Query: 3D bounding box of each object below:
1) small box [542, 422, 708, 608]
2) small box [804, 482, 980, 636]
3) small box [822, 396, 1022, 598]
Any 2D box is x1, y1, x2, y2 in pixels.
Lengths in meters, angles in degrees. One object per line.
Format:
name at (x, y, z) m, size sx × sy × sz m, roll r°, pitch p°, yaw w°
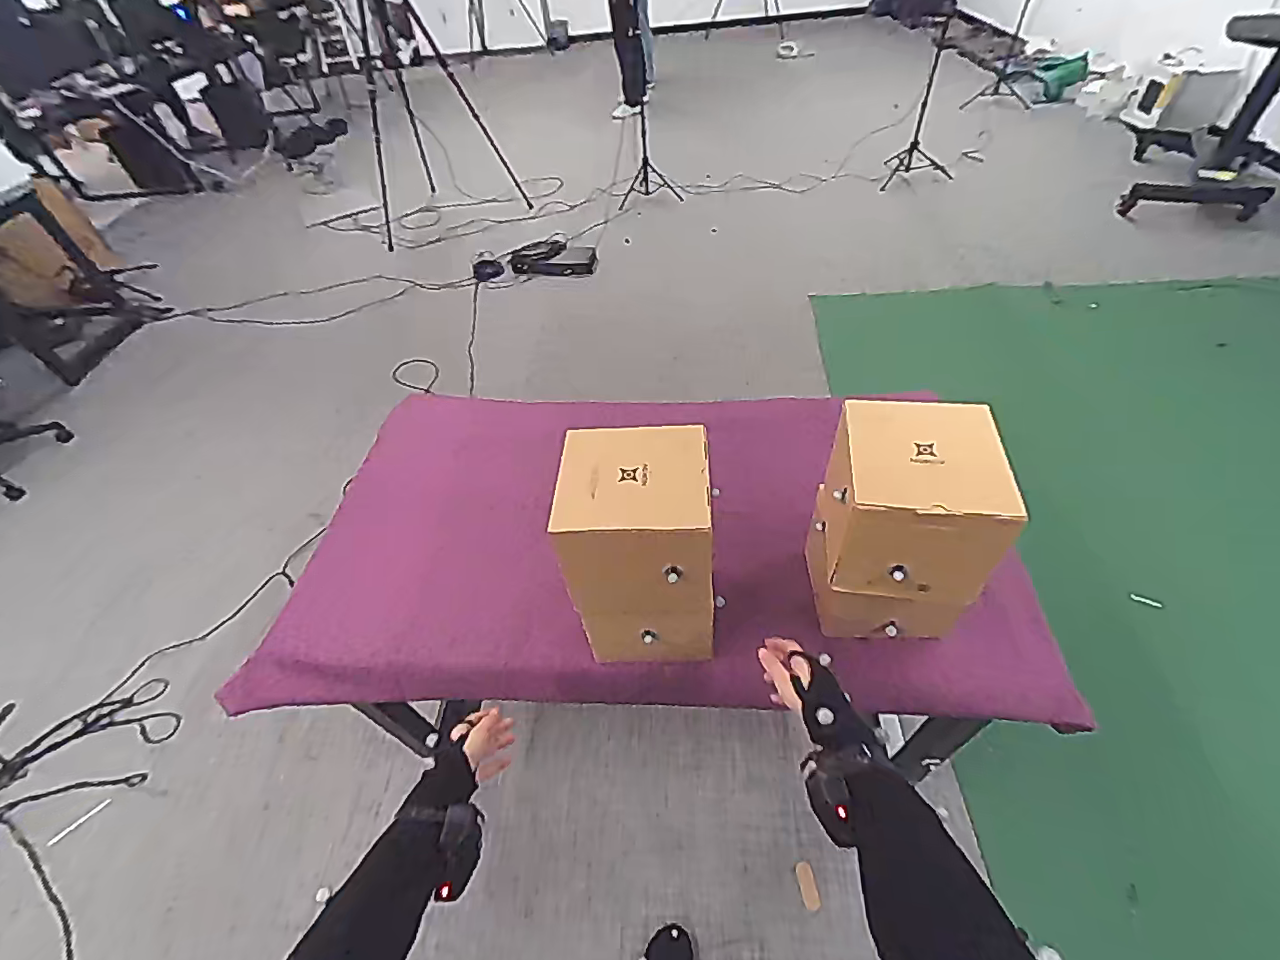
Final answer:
small box at (-0.005, 0.046, 0.674) m, size 0.179 × 0.176 × 0.168 m, roll -2°, pitch 45°, yaw 6°
small box at (0.351, 0.116, 0.792) m, size 0.179 × 0.176 × 0.168 m, roll -2°, pitch 46°, yaw 6°
small box at (0.321, 0.019, 0.661) m, size 0.168 × 0.176 × 0.179 m, roll 4°, pitch 48°, yaw 11°
